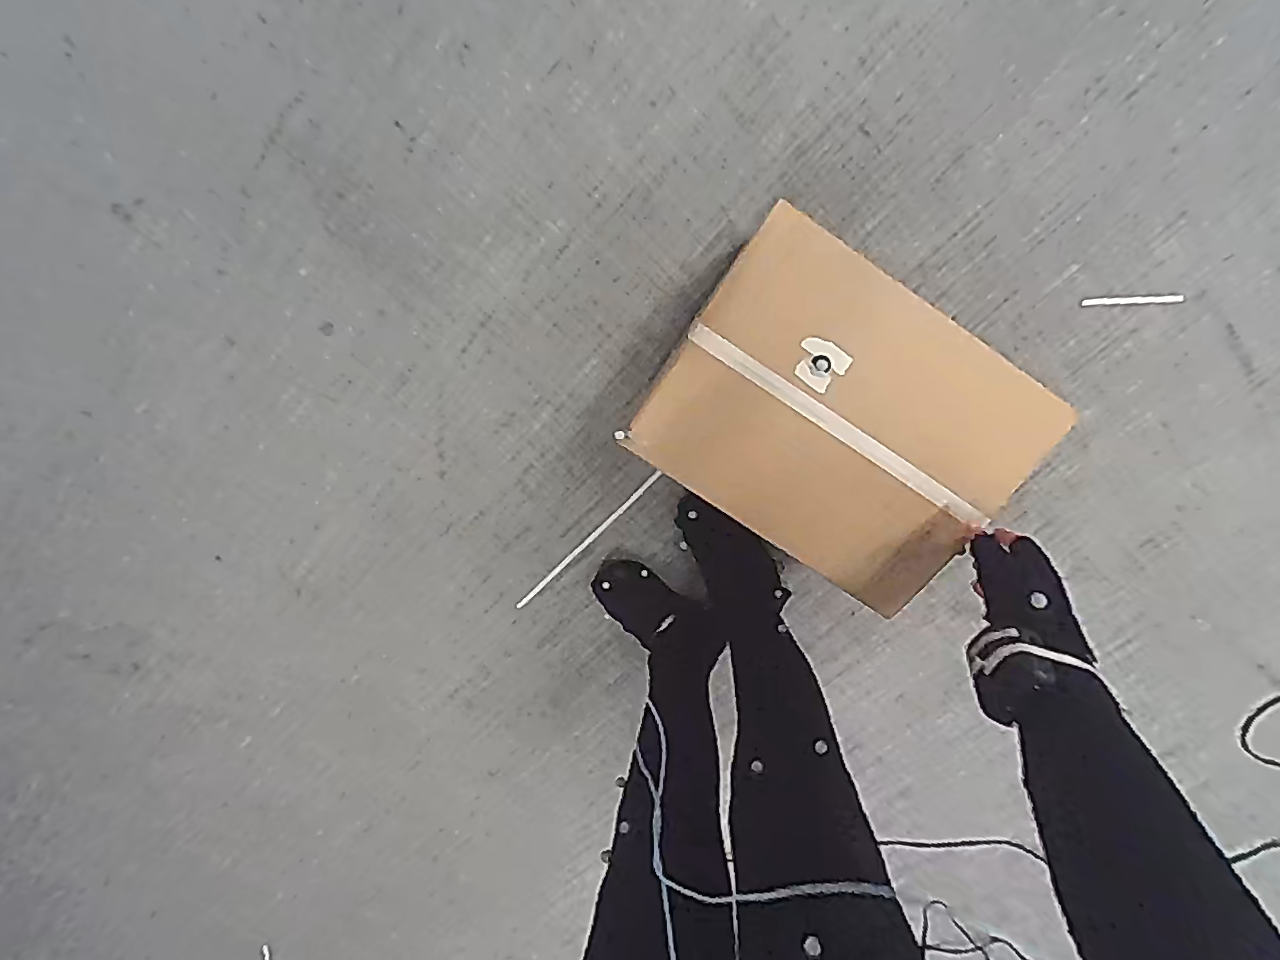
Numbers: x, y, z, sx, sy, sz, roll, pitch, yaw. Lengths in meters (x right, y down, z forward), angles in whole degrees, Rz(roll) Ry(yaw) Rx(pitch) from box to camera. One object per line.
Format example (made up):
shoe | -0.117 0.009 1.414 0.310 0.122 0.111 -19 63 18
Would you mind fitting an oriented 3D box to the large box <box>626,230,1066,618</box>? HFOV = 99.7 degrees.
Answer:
large box | 0.245 -0.088 0.770 0.408 0.320 0.320 33 107 -4
